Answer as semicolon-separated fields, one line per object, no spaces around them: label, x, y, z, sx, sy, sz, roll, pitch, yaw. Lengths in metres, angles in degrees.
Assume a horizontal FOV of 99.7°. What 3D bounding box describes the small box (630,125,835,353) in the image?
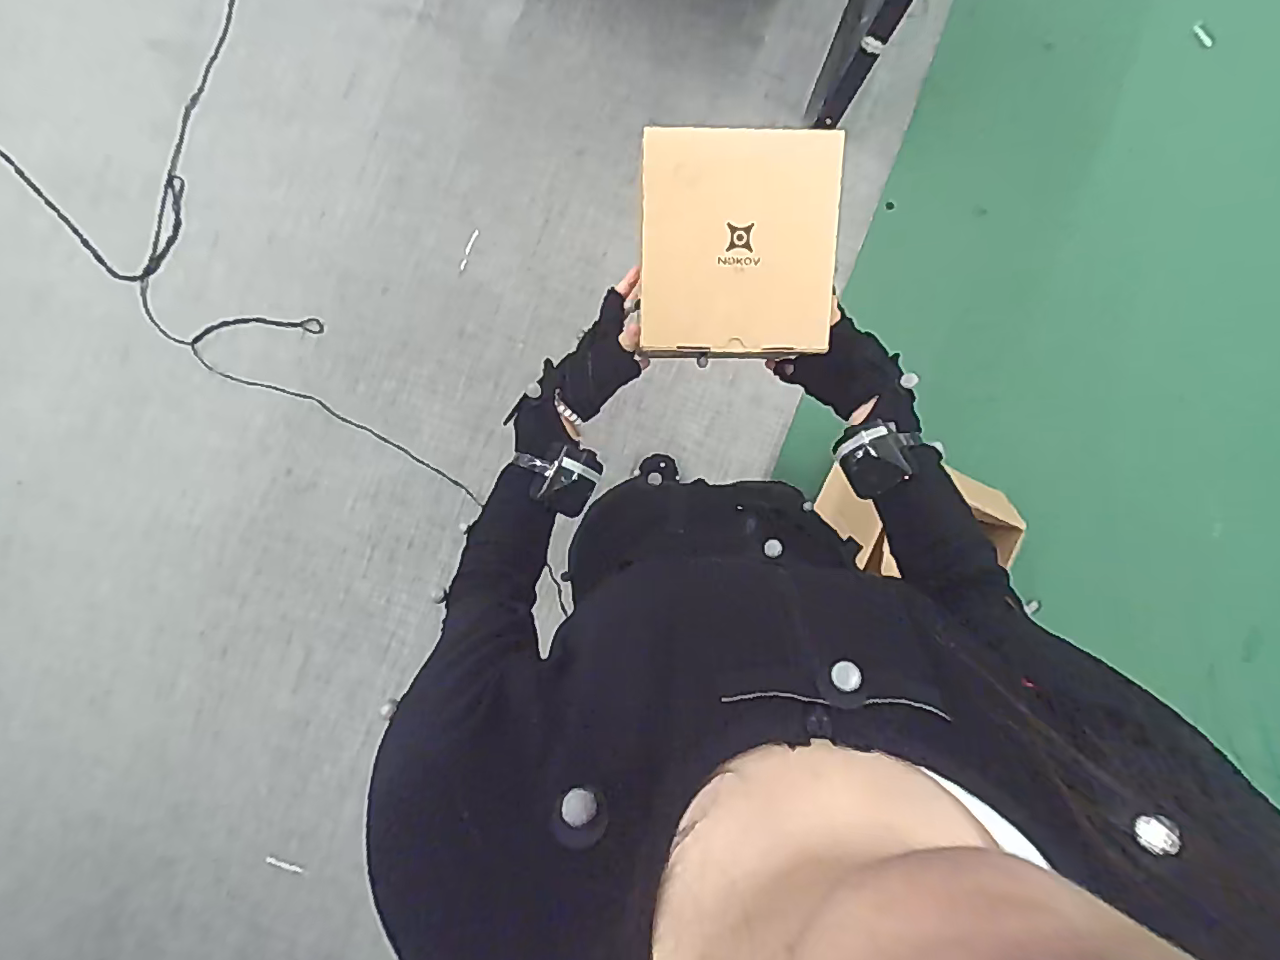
small box;0.076;-0.220;0.539;0.168;0.176;0.179;0;103;-2
